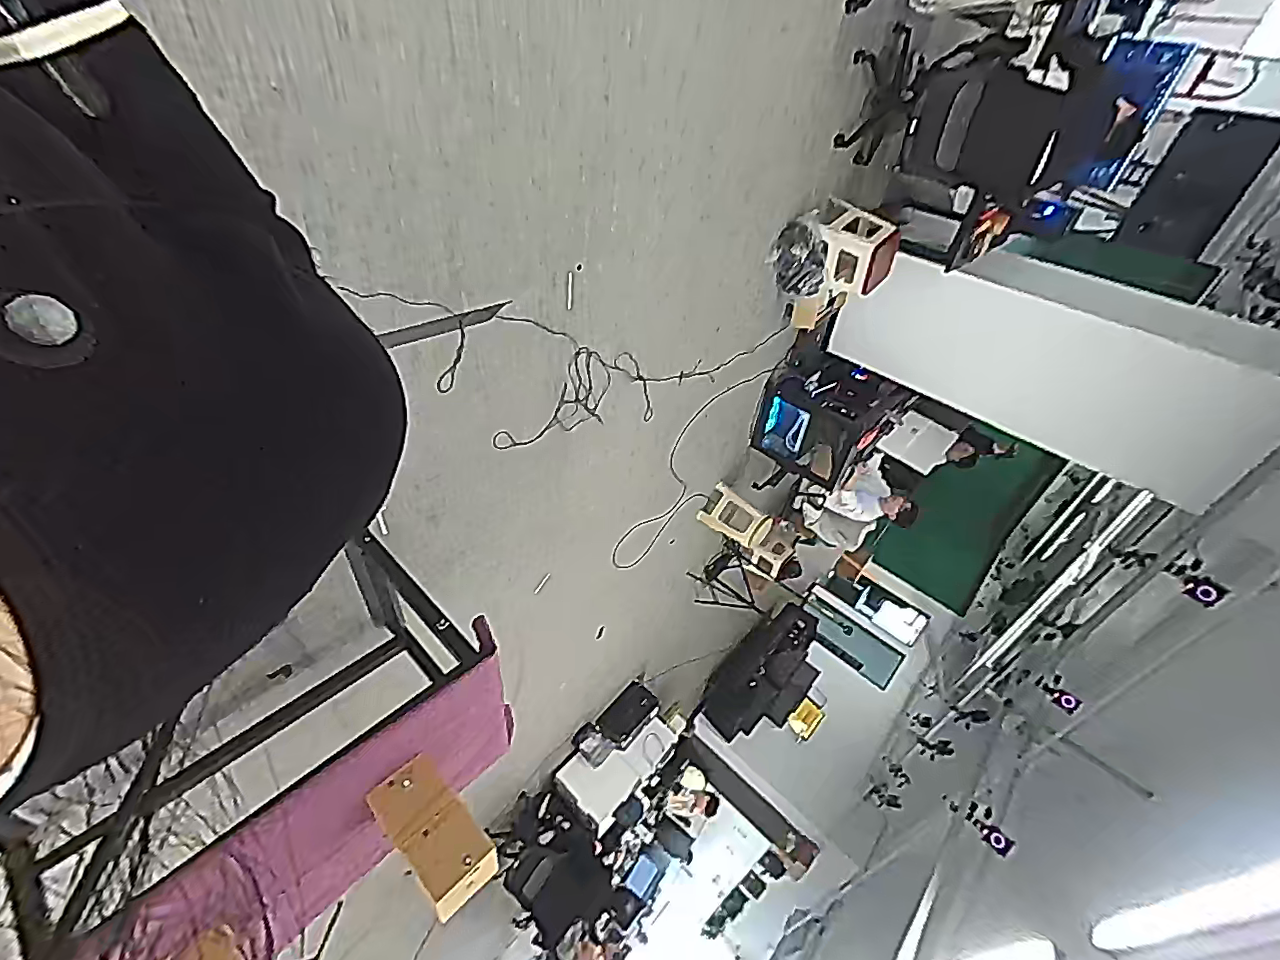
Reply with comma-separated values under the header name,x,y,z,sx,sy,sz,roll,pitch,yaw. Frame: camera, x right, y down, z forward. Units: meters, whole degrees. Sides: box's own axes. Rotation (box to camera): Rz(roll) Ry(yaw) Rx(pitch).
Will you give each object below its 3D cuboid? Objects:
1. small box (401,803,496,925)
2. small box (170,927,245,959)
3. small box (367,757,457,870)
name,x,y,z,sx,sy,sz,roll,pitch,yaw
small box,-0.486,0.974,1.381,0.168,0.176,0.179,-30,144,-39
small box,-0.952,1.125,1.167,0.168,0.176,0.179,-29,142,-42
small box,-0.606,0.892,1.457,0.168,0.176,0.179,-31,143,-38
